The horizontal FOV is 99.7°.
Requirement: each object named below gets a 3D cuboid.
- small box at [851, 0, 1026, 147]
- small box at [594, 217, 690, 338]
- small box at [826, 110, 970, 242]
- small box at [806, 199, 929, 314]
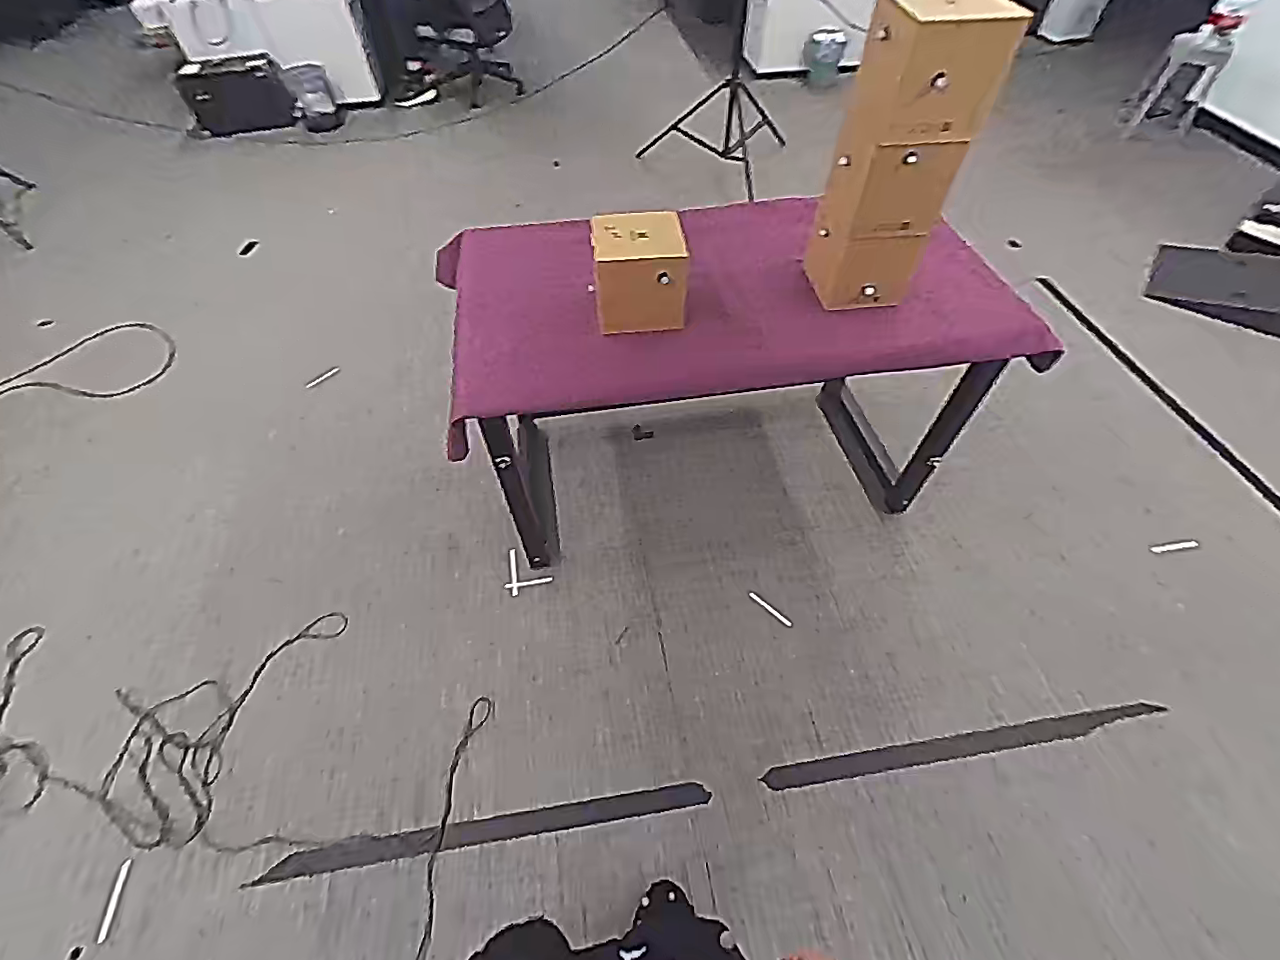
[{"bbox_3d":[0.468,-0.664,0.883,0.168,0.176,0.179,-5,53,-2],"label":"small box"},{"bbox_3d":[0.000,-0.412,1.109,0.179,0.176,0.168,-6,53,-3],"label":"small box"},{"bbox_3d":[0.469,-0.573,1.018,0.168,0.176,0.179,-4,53,-2],"label":"small box"},{"bbox_3d":[0.470,-0.479,1.153,0.168,0.176,0.179,-6,54,-3],"label":"small box"}]
